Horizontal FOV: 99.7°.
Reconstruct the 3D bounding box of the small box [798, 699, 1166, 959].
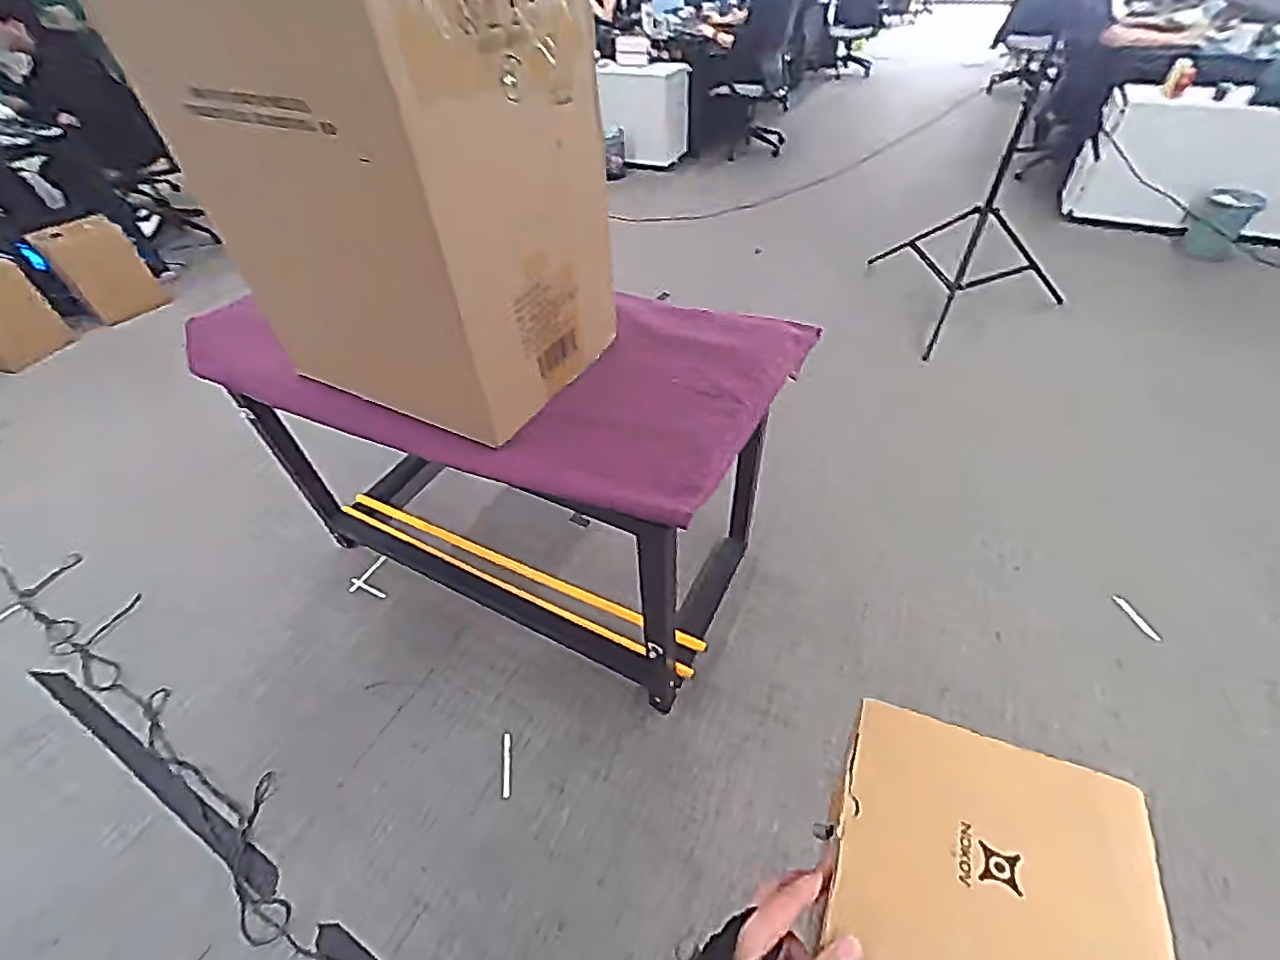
[{"bbox_3d":[0.221,0.296,0.385,0.179,0.176,0.168,12,45,22],"label":"small box"}]
